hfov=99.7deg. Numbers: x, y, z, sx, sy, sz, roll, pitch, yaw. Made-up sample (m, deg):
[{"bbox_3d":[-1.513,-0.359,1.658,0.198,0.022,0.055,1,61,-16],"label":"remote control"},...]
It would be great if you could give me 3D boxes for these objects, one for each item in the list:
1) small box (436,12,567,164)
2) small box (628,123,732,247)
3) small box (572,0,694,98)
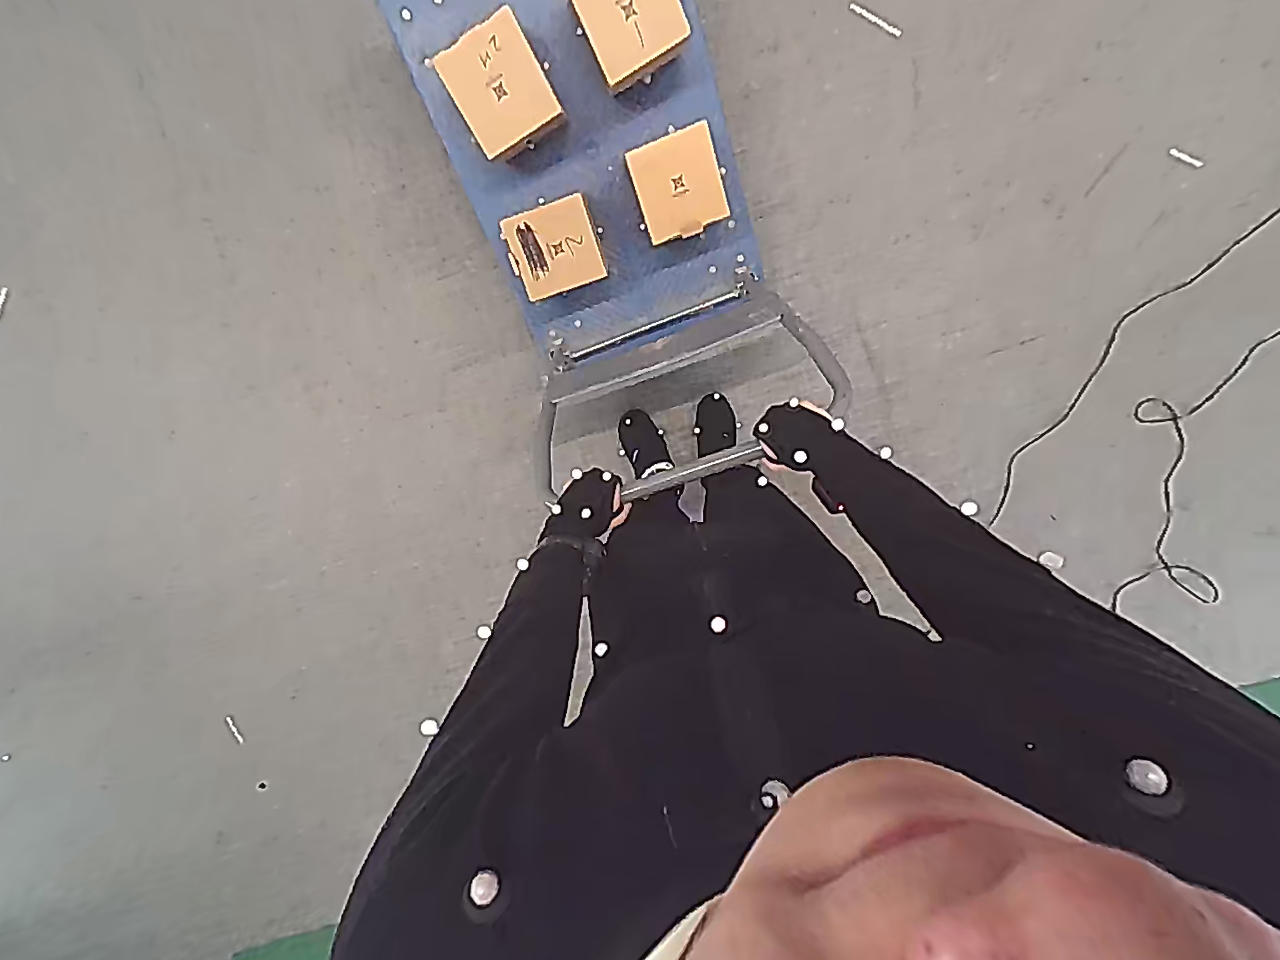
[{"bbox_3d":[-0.252,-0.738,1.040,0.168,0.176,0.179,-26,117,11],"label":"small box"},{"bbox_3d":[0.078,-0.610,1.128,0.168,0.176,0.179,-19,119,8],"label":"small box"},{"bbox_3d":[-0.019,-0.843,0.993,0.168,0.176,0.179,-25,118,12],"label":"small box"}]
